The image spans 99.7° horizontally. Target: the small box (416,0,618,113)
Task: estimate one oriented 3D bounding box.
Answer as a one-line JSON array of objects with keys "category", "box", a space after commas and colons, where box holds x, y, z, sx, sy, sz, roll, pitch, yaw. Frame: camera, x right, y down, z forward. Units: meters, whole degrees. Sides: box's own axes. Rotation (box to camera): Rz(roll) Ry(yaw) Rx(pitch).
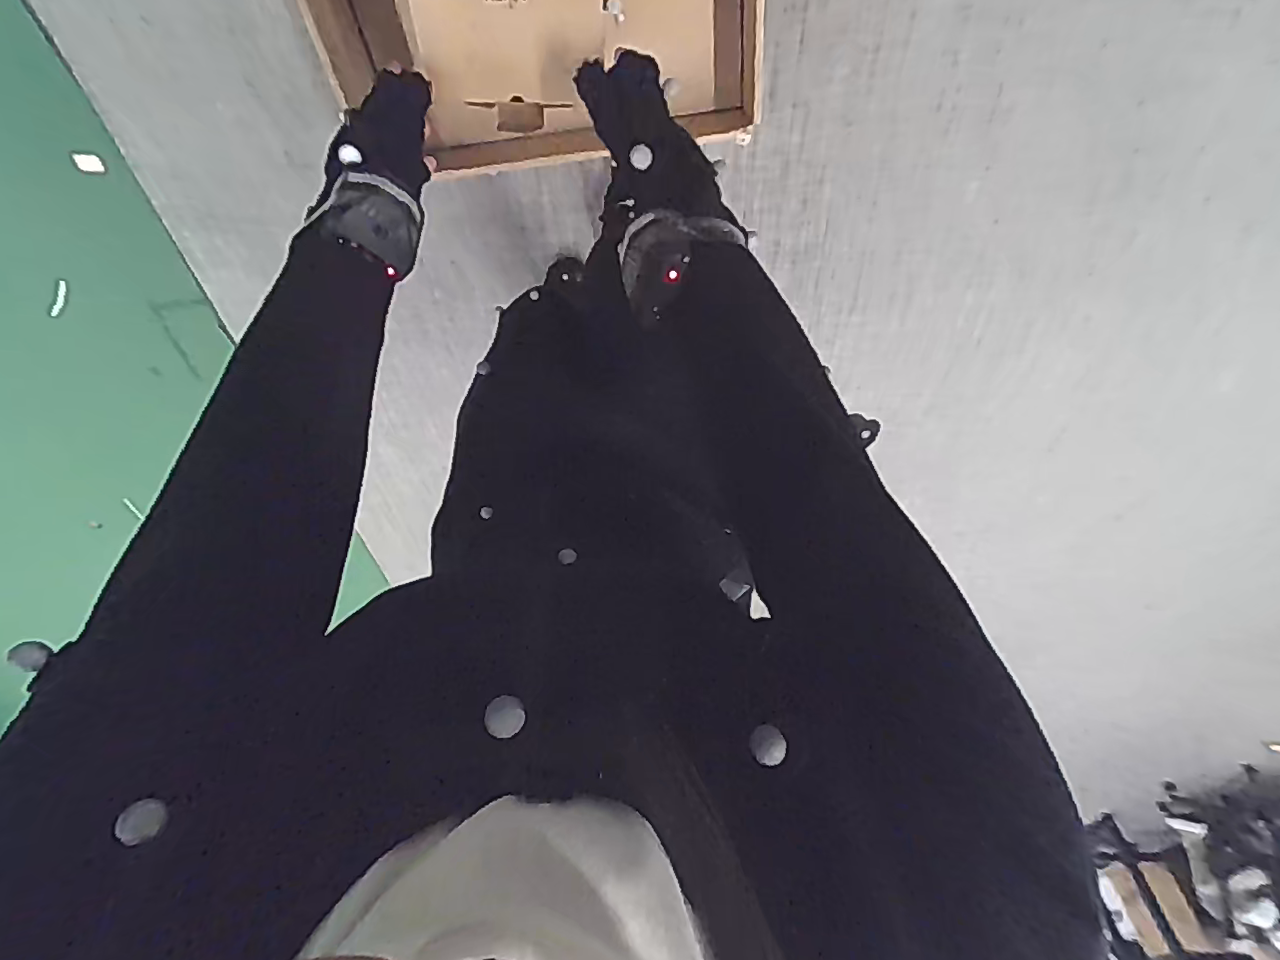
[{"category": "small box", "box": [-0.112, -0.478, 0.528, 0.168, 0.176, 0.179, 1, 132, 3]}]
